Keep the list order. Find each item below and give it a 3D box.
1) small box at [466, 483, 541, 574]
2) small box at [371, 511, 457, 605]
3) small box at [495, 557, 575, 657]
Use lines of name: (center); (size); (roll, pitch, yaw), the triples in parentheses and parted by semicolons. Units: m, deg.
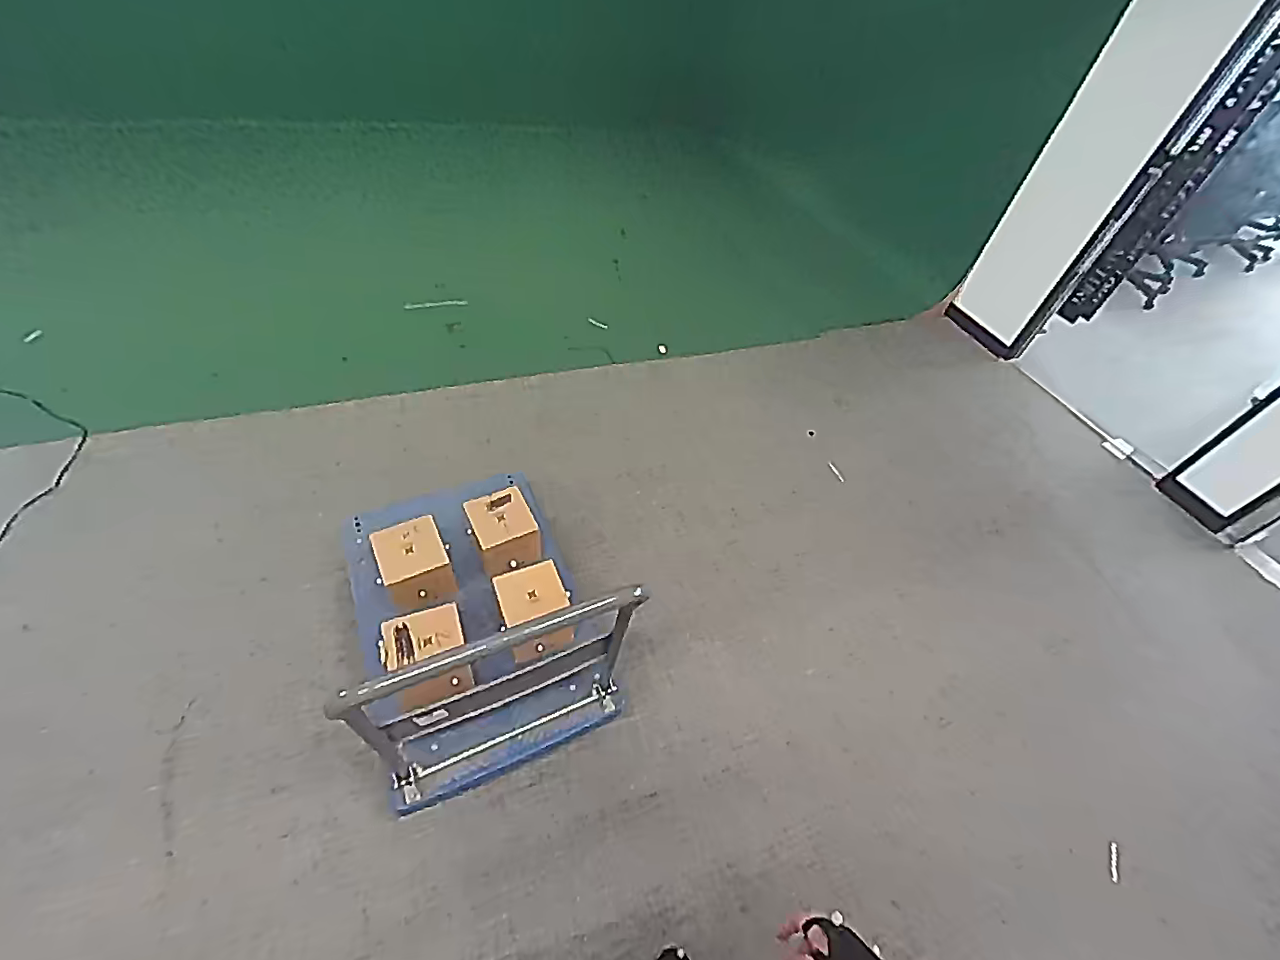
small box: (-0.398, 0.142, 1.586); (0.168, 0.176, 0.179); (-20, 57, -22)
small box: (-0.616, 0.222, 1.486); (0.168, 0.176, 0.179); (-19, 56, -24)
small box: (-0.282, 0.339, 1.442); (0.168, 0.176, 0.179); (-15, 55, -21)
